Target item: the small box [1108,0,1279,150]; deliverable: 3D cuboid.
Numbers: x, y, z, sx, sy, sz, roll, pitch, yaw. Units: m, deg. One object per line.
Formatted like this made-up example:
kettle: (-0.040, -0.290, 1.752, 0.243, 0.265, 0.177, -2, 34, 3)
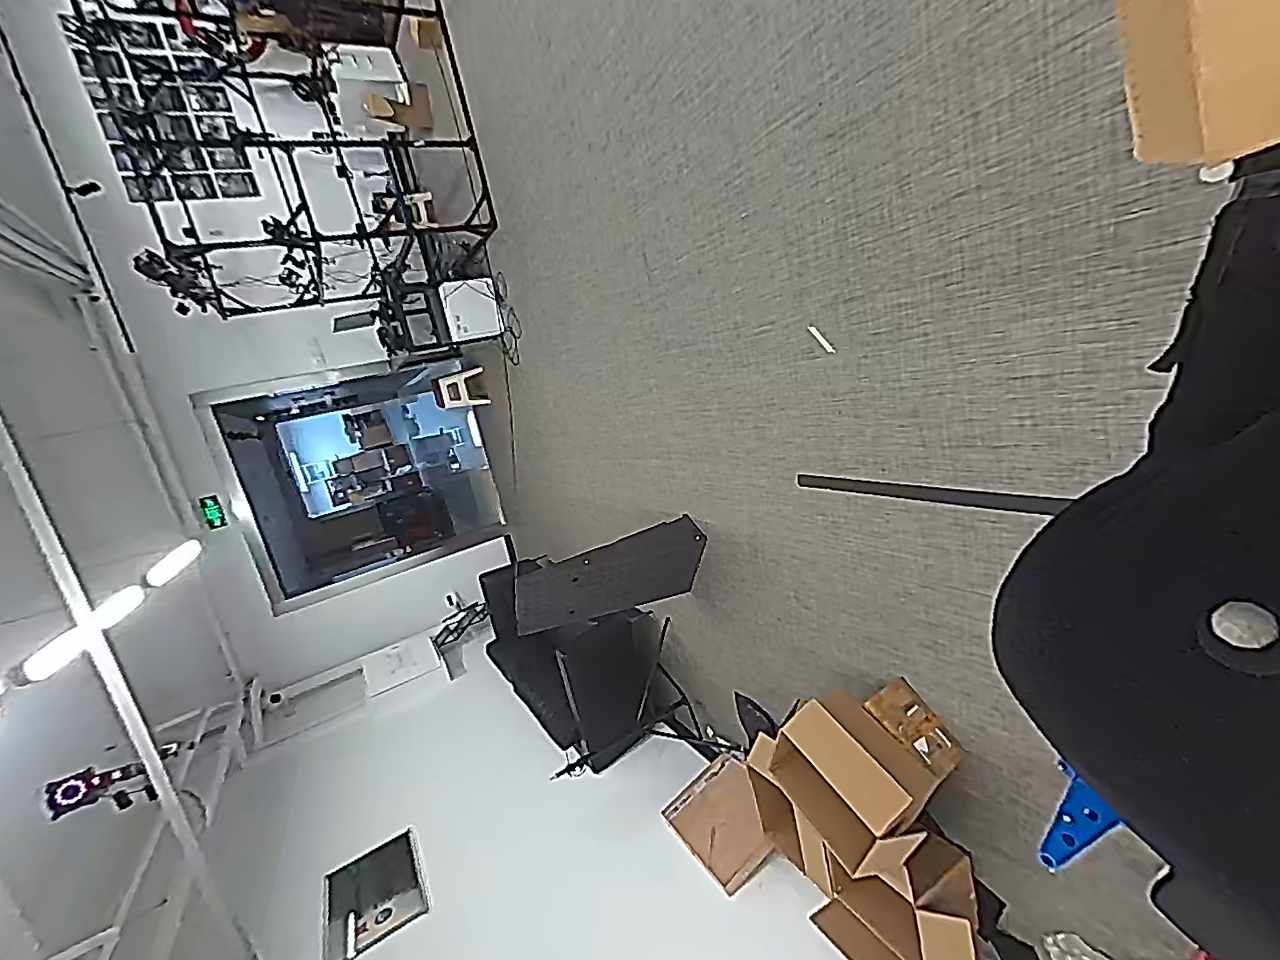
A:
small box: (0.277, -0.243, 0.189, 0.168, 0.176, 0.179, -11, 110, 40)
